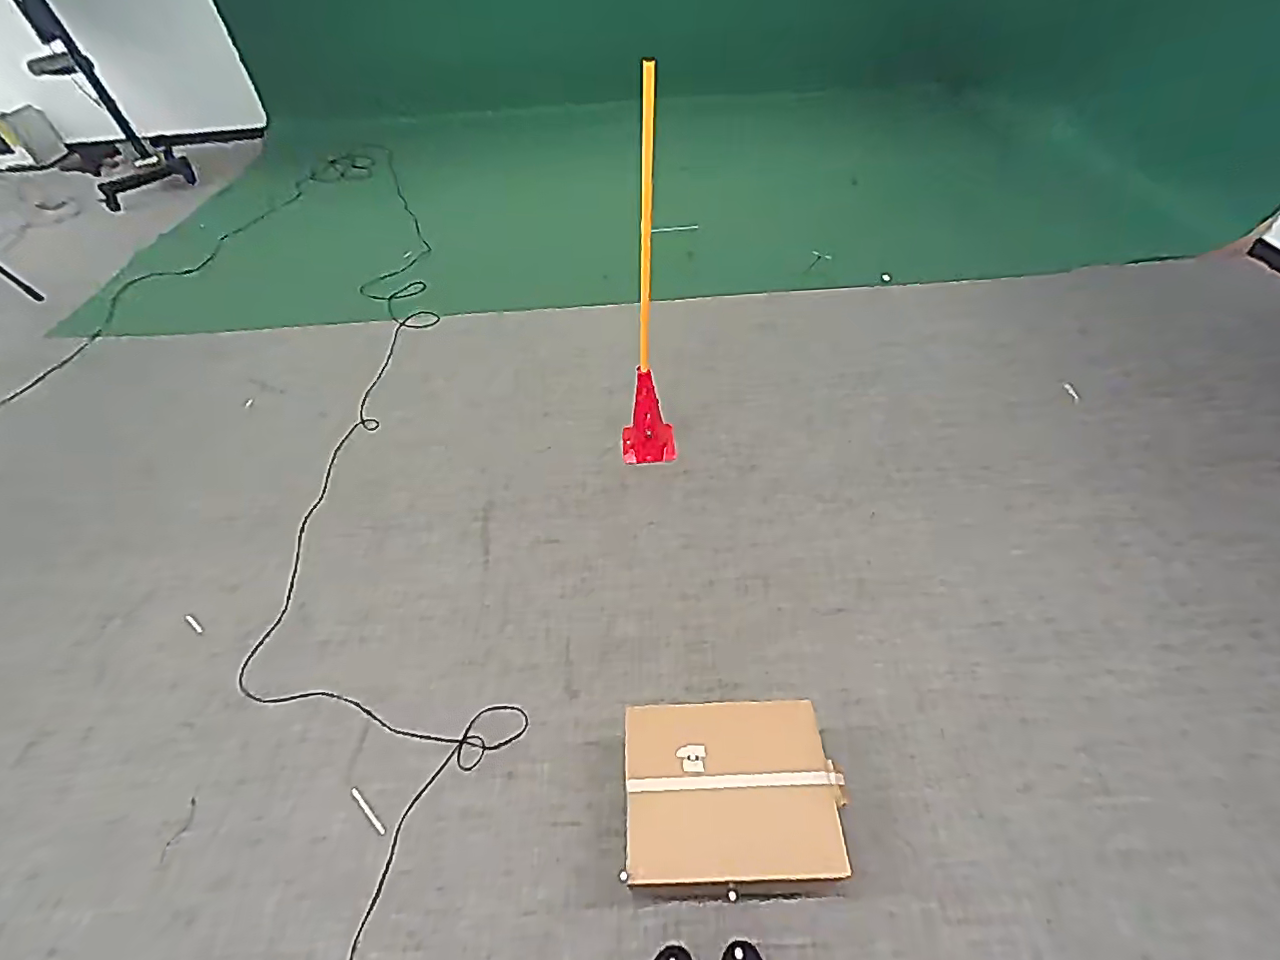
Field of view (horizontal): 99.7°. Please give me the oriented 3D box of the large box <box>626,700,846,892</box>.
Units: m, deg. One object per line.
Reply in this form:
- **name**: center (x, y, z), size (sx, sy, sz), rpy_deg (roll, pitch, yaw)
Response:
- **large box**: center (0.183, 0.699, 1.187), size (0.408, 0.320, 0.320), rpy_deg (-3, 49, 2)
